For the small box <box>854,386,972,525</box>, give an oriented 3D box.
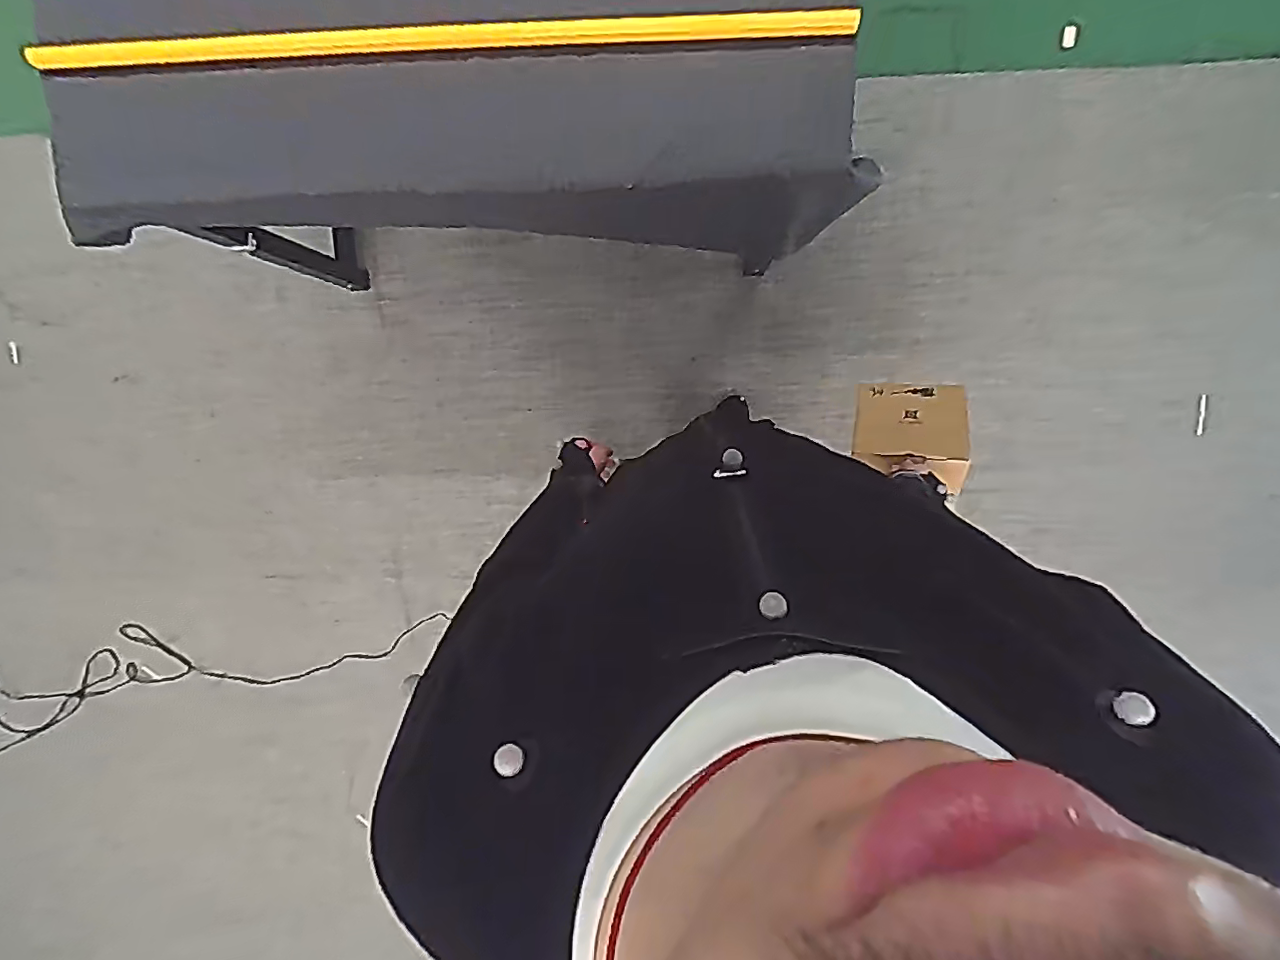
[{"bbox_3d":[0.463,-0.040,0.933,0.168,0.179,0.176,3,139,23],"label":"small box"}]
